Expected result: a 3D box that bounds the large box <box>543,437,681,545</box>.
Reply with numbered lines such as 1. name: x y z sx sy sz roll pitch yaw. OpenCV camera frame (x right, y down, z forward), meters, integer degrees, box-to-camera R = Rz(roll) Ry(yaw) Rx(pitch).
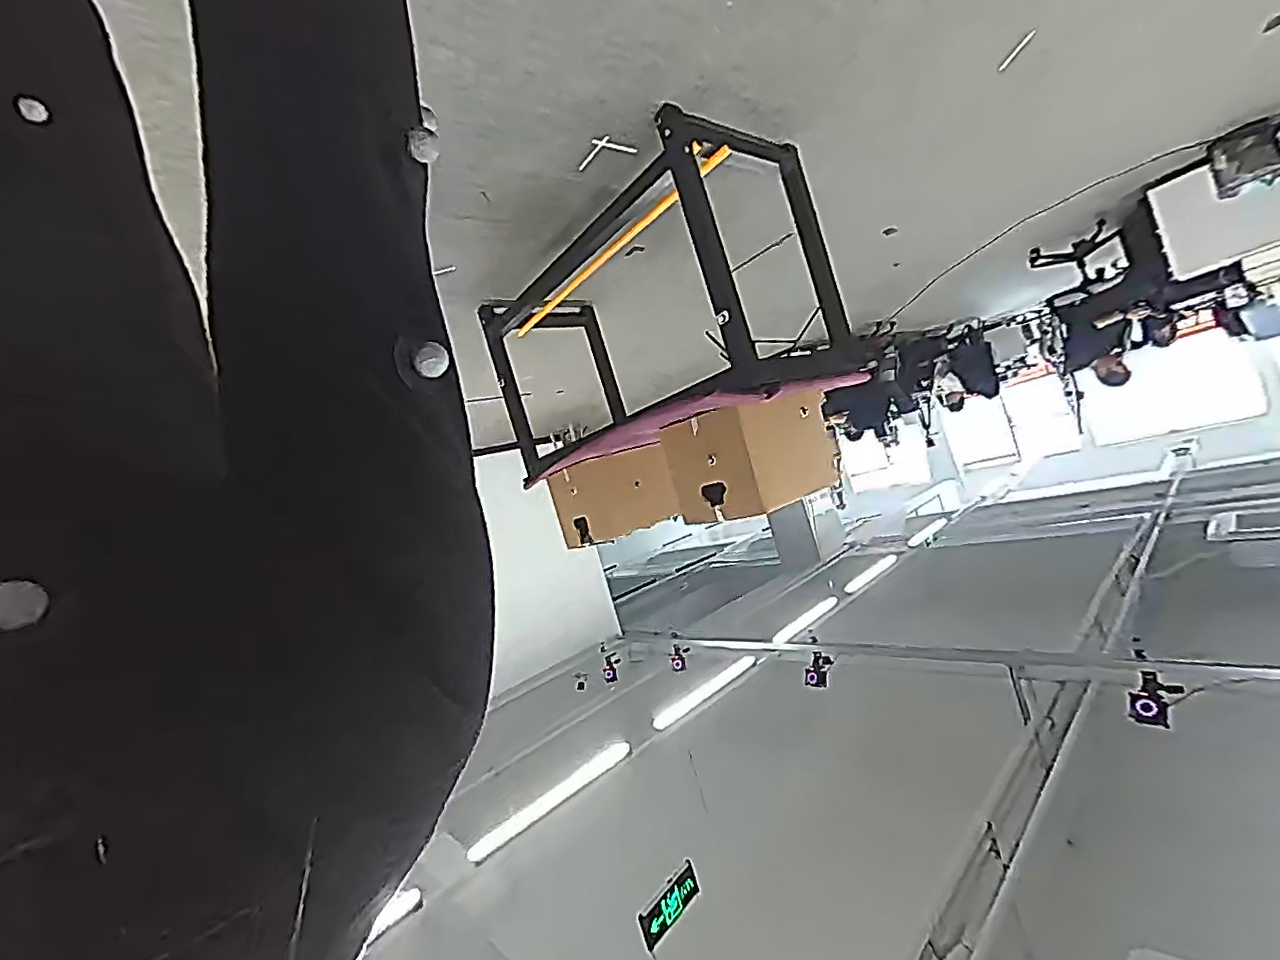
1. large box: -0.116 0.041 2.177 0.408 0.320 0.320 -18 -179 -41
